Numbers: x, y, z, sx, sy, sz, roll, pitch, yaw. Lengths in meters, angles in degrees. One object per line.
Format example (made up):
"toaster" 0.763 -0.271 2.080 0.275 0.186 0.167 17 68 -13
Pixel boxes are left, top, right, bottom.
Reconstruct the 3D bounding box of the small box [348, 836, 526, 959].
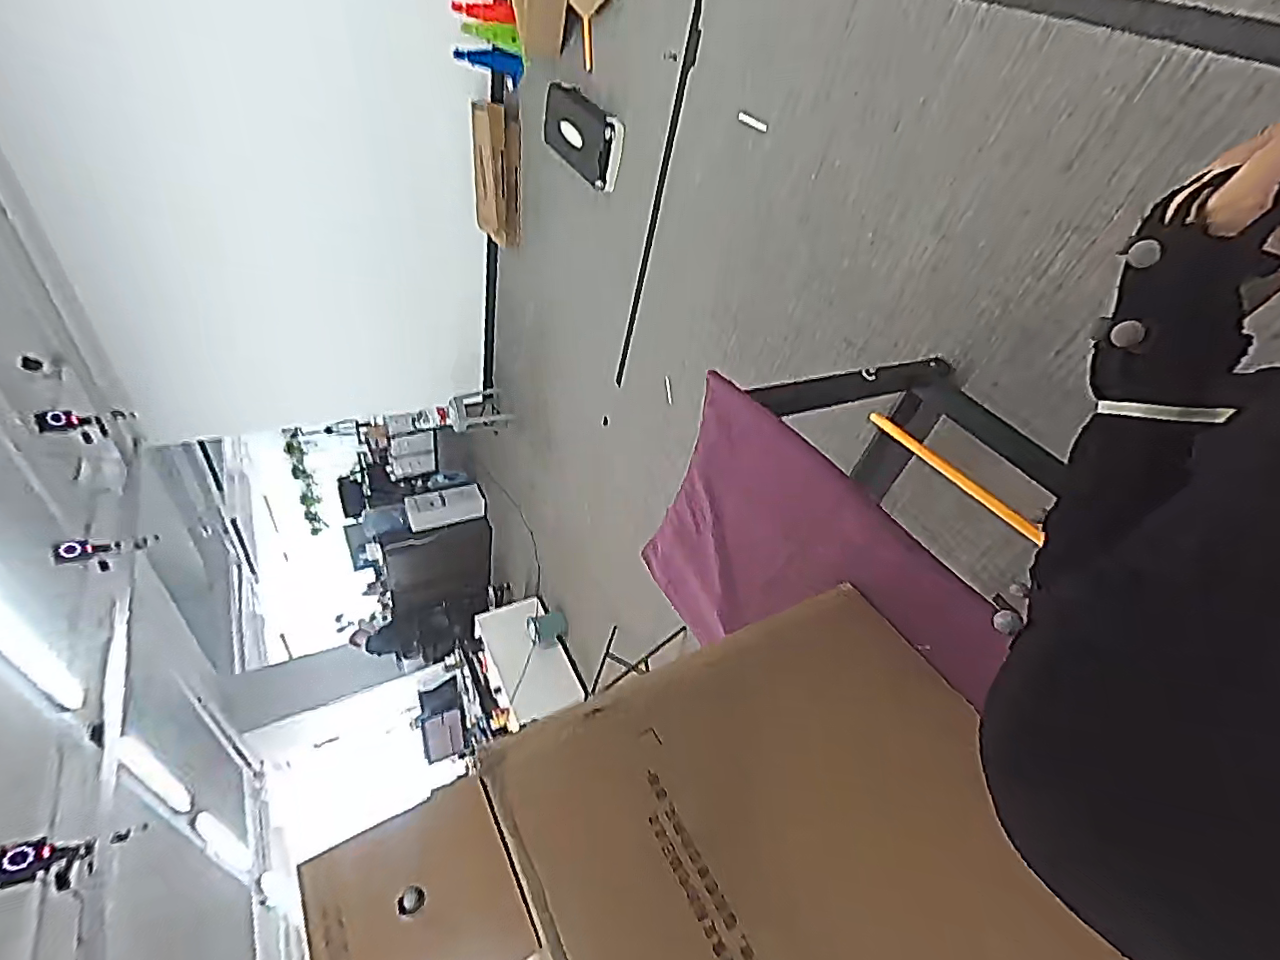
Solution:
"small box" -0.248 0.591 0.677 0.168 0.176 0.179 53 143 34
